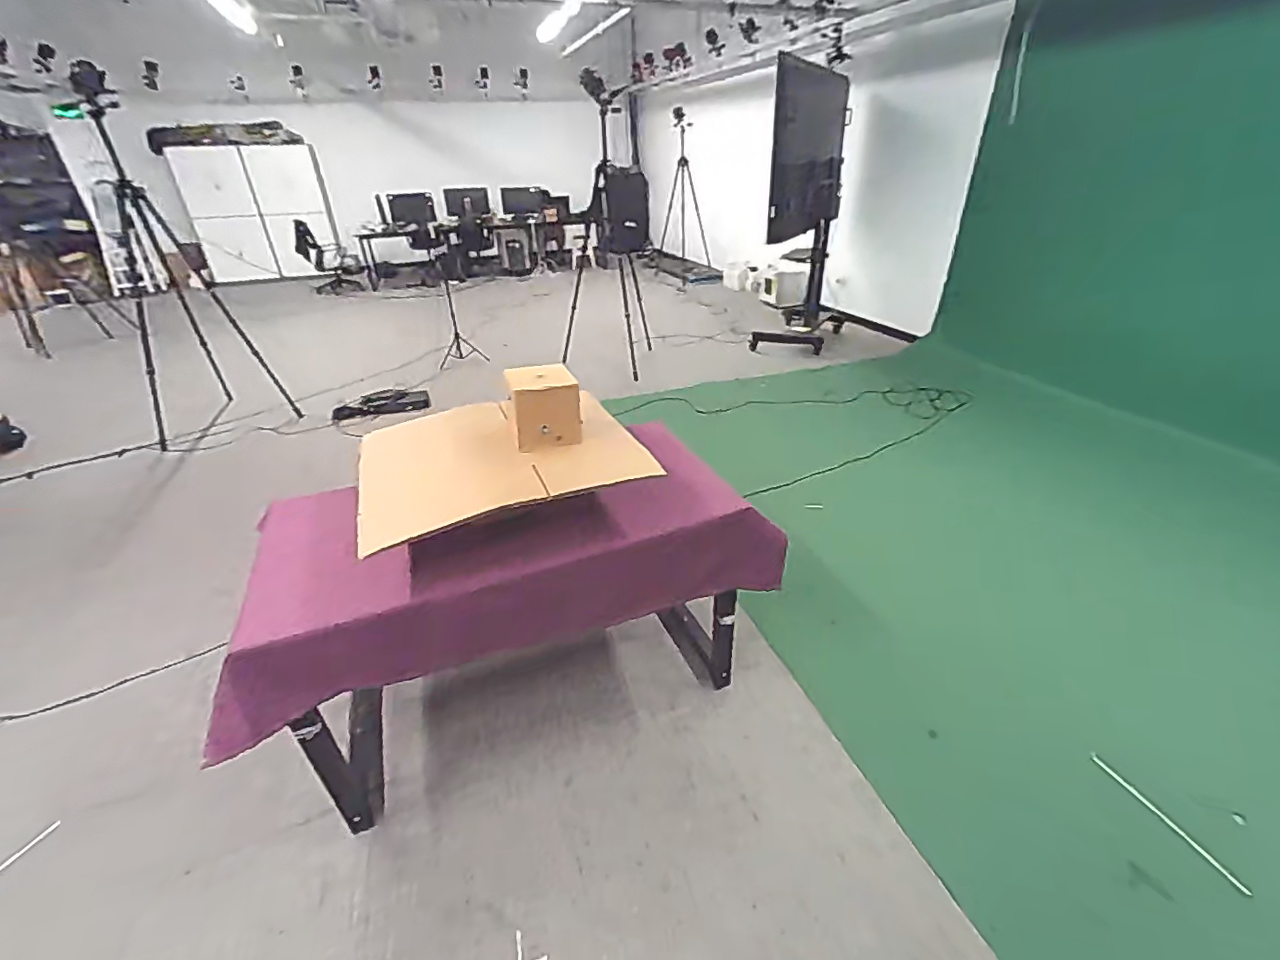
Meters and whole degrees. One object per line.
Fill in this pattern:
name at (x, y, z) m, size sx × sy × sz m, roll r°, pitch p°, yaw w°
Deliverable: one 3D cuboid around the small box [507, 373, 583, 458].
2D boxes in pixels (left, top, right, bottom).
small box at (-0.254, -0.174, 1.441) m, size 0.168 × 0.176 × 0.179 m, roll -11°, pitch 32°, yaw -19°
